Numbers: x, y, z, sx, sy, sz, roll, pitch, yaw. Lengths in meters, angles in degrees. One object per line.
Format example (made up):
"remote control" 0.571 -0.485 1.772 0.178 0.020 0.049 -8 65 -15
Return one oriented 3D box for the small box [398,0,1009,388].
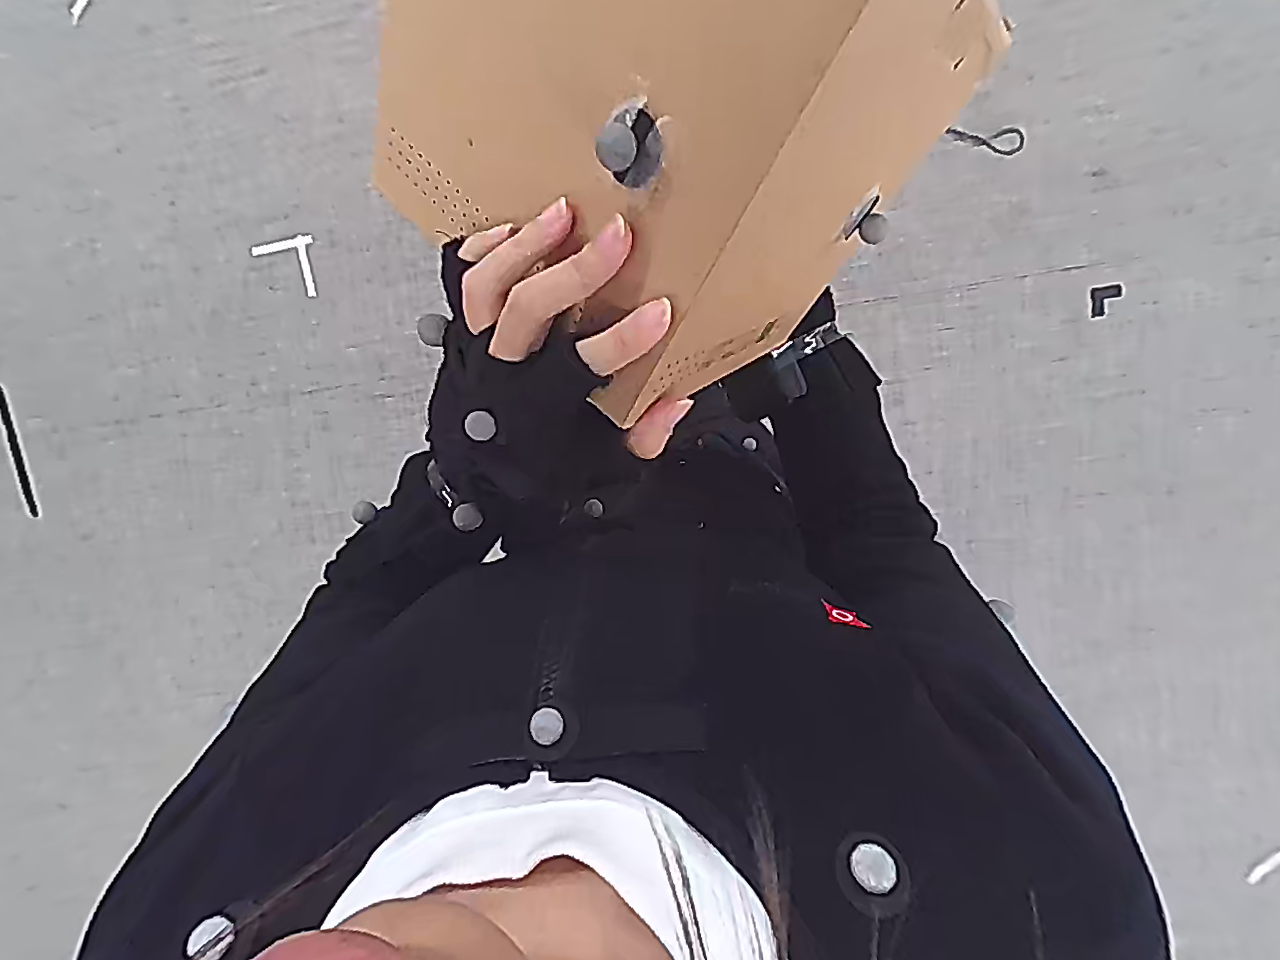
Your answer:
"small box" 0.017 -0.162 0.247 0.179 0.168 0.176 45 134 11
